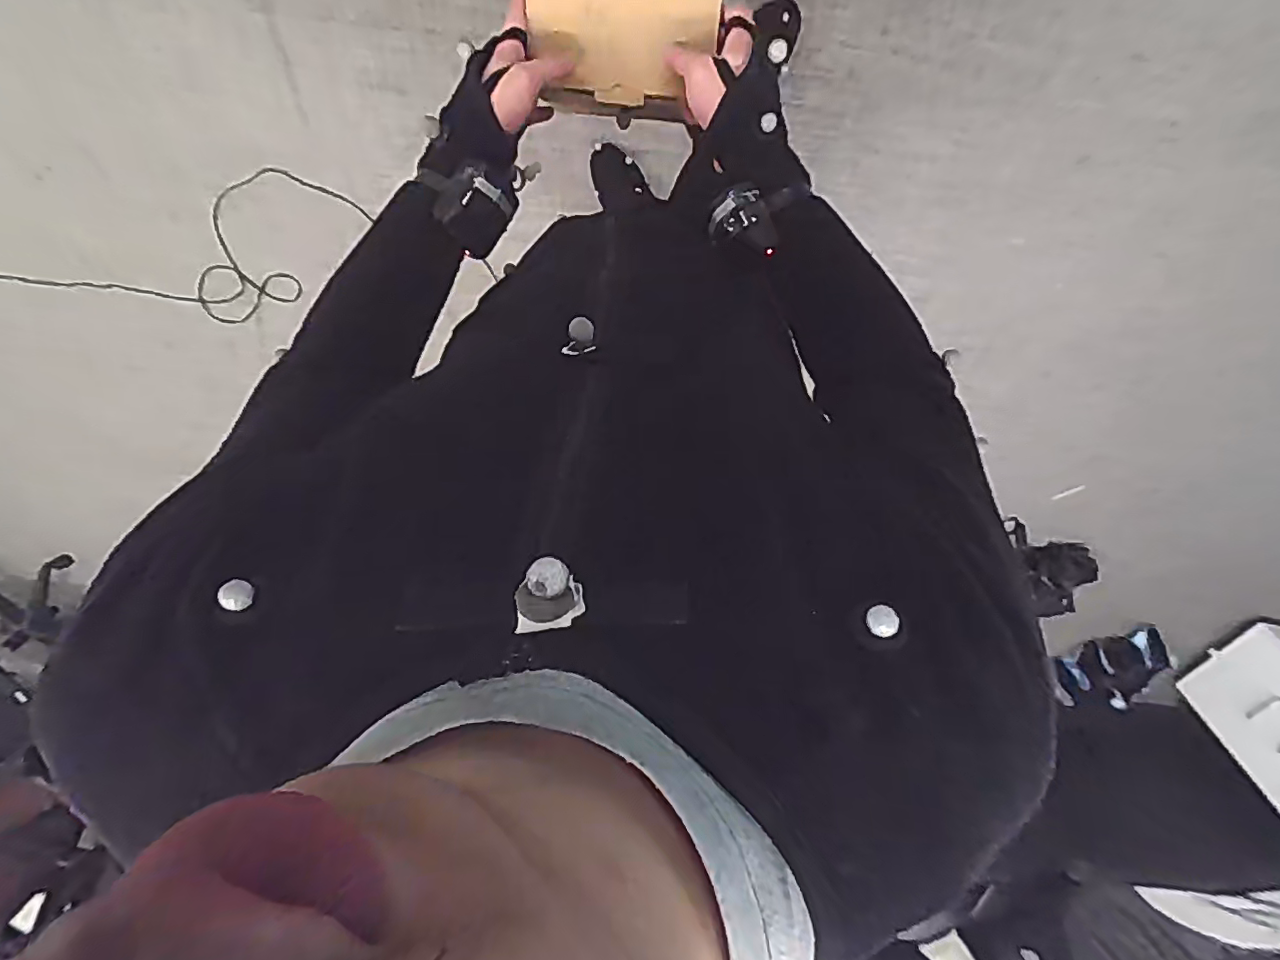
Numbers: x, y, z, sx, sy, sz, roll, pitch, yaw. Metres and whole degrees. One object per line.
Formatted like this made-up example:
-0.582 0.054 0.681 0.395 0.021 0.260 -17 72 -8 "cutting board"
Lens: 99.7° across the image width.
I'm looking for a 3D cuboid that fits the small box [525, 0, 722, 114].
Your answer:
-0.008 -0.452 0.498 0.168 0.176 0.179 4 119 0 "small box"
